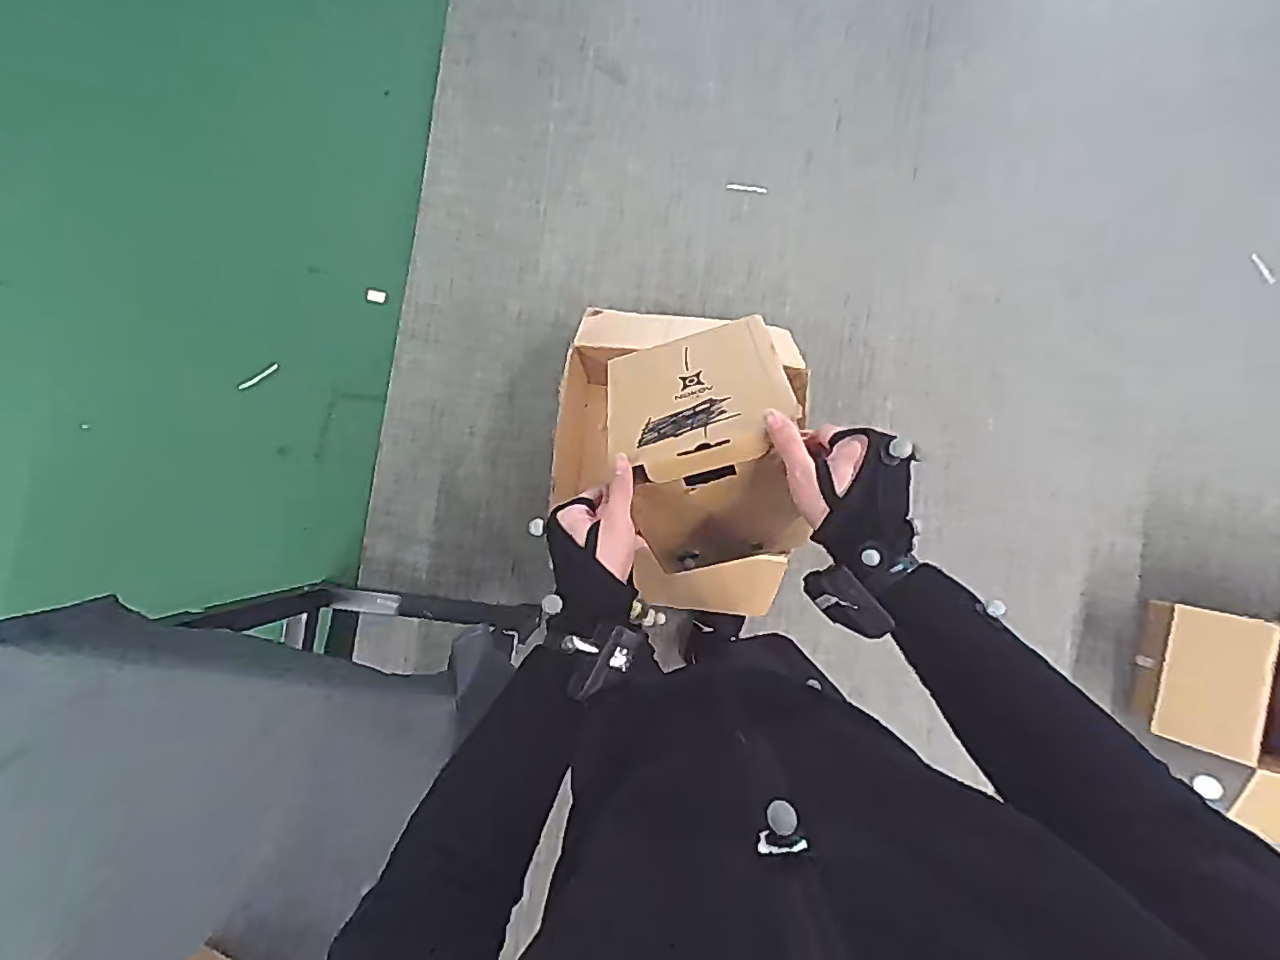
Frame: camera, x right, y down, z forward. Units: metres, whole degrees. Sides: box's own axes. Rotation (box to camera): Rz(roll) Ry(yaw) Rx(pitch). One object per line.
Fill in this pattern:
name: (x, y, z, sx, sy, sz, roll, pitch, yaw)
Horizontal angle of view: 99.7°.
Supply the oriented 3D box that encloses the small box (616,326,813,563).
small box: (0.080, -0.026, 0.578, 0.168, 0.176, 0.179, -13, 50, 12)
